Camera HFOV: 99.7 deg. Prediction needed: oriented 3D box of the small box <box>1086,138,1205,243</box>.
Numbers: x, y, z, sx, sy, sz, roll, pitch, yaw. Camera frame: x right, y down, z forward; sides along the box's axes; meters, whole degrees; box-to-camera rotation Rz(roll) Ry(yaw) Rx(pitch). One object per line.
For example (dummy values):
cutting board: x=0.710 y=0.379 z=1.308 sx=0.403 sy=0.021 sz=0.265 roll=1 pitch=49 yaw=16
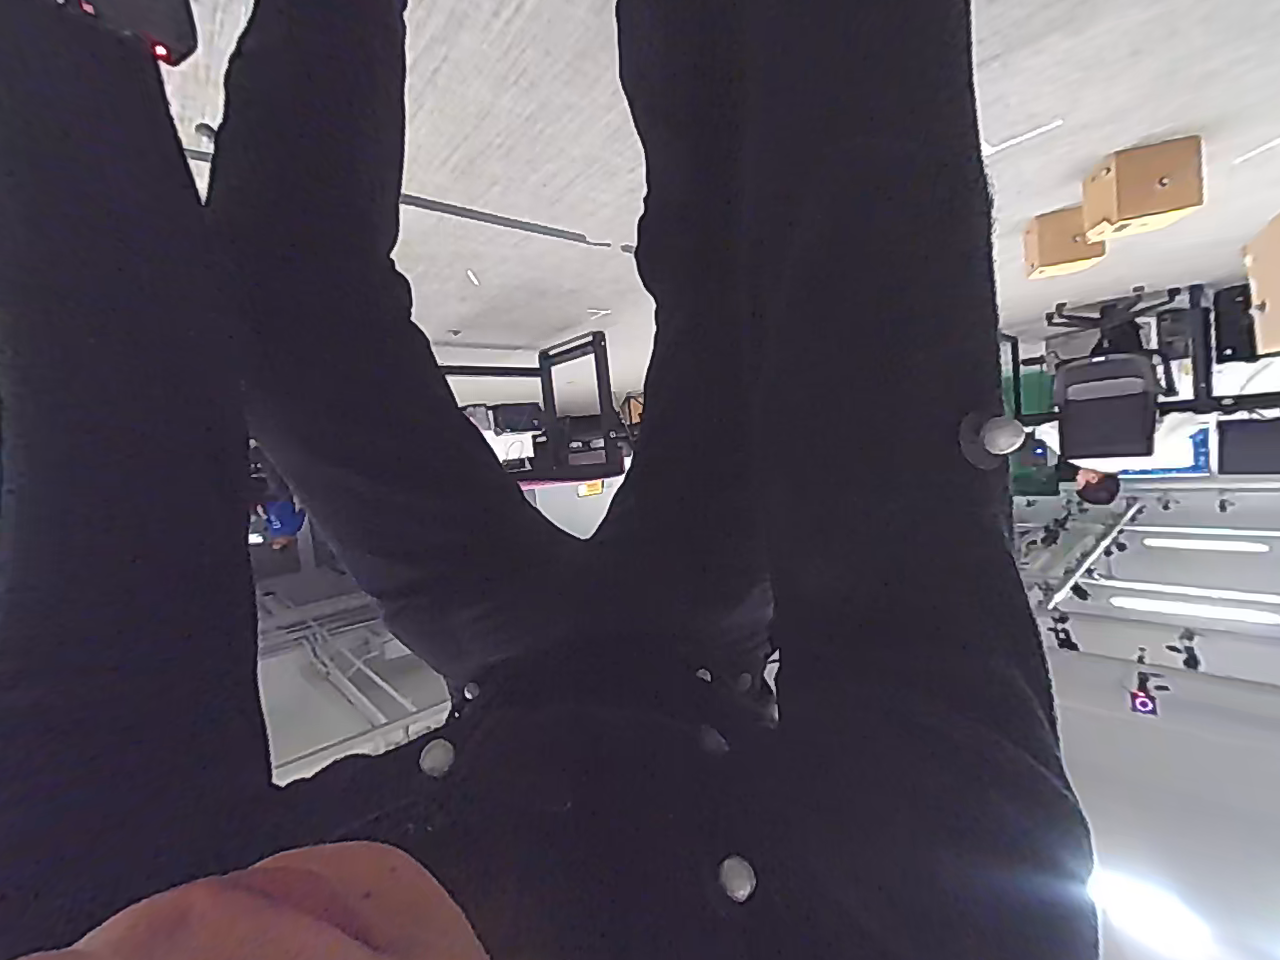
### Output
small box: x=1.291 y=-0.742 z=1.394 sx=0.179 sy=0.176 sz=0.168 roll=-5 pitch=-177 yaw=17

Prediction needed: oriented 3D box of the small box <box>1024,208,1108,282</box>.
small box: x=1.392 y=-0.773 z=1.776 sx=0.179 sy=0.176 sz=0.168 roll=-6 pitch=-177 yaw=24
